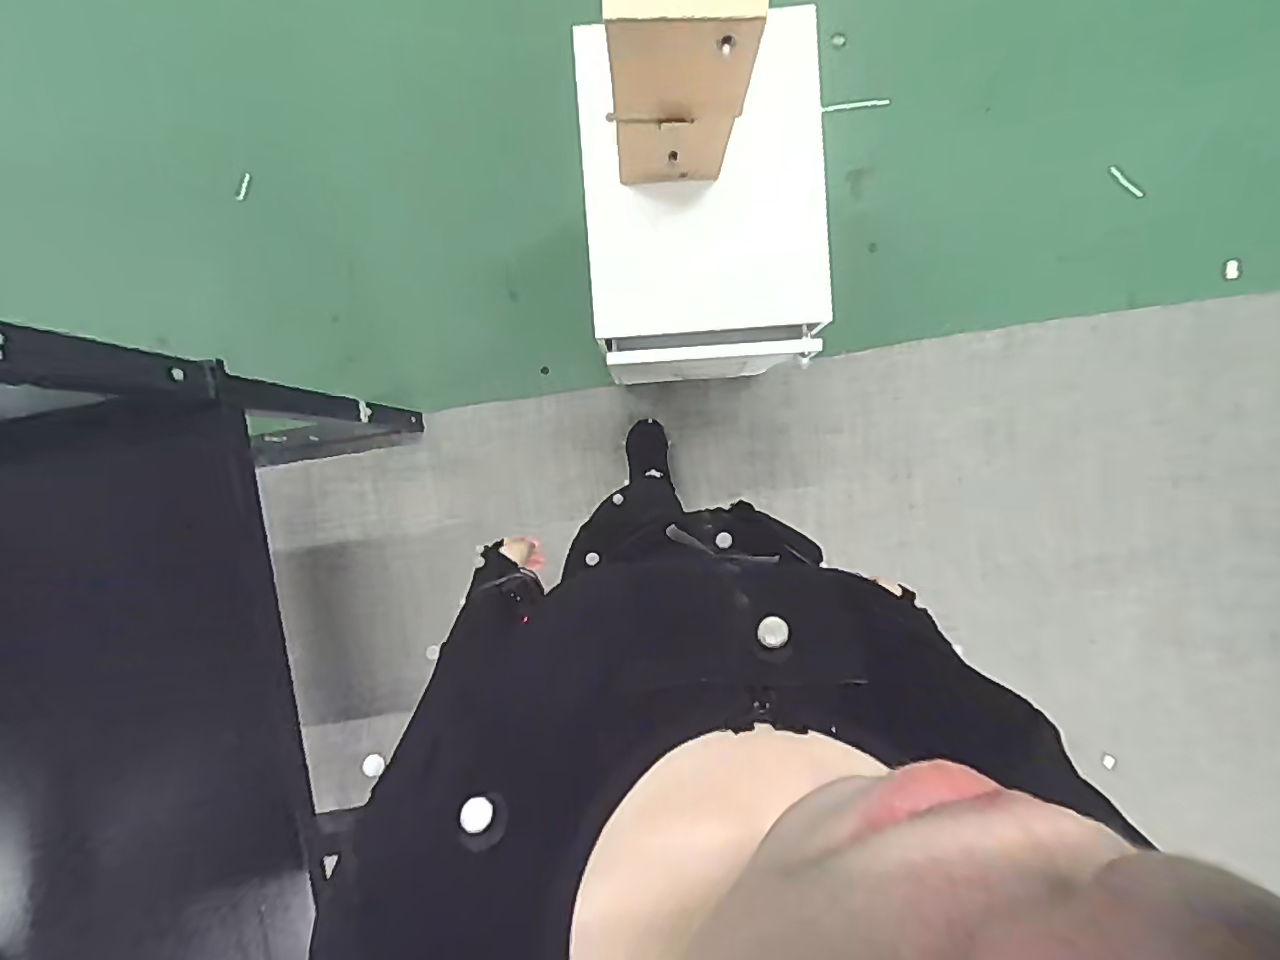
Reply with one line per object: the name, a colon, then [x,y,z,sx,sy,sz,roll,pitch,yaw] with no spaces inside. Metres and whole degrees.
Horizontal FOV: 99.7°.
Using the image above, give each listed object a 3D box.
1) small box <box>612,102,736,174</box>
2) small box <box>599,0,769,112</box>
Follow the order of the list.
small box: [0.044,-0.570,0.789,0.168,0.176,0.179,-3,93,0]
small box: [0.046,-0.560,0.627,0.179,0.176,0.168,-1,92,0]
